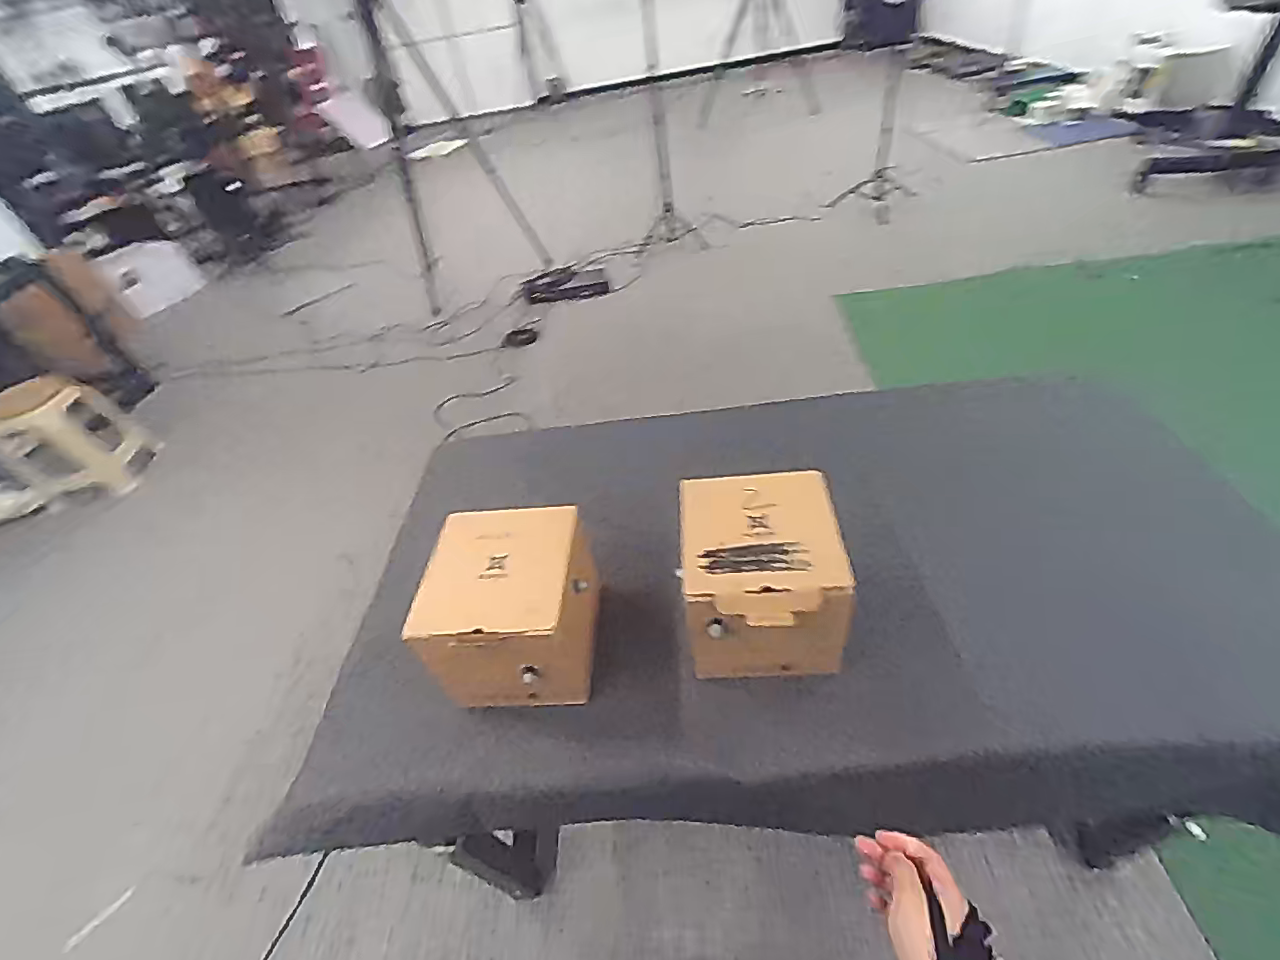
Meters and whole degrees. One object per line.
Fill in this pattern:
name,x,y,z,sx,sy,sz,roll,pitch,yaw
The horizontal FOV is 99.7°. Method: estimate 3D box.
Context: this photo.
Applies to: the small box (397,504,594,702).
small box,-0.154,0.153,0.652,0.168,0.176,0.179,-4,42,6
